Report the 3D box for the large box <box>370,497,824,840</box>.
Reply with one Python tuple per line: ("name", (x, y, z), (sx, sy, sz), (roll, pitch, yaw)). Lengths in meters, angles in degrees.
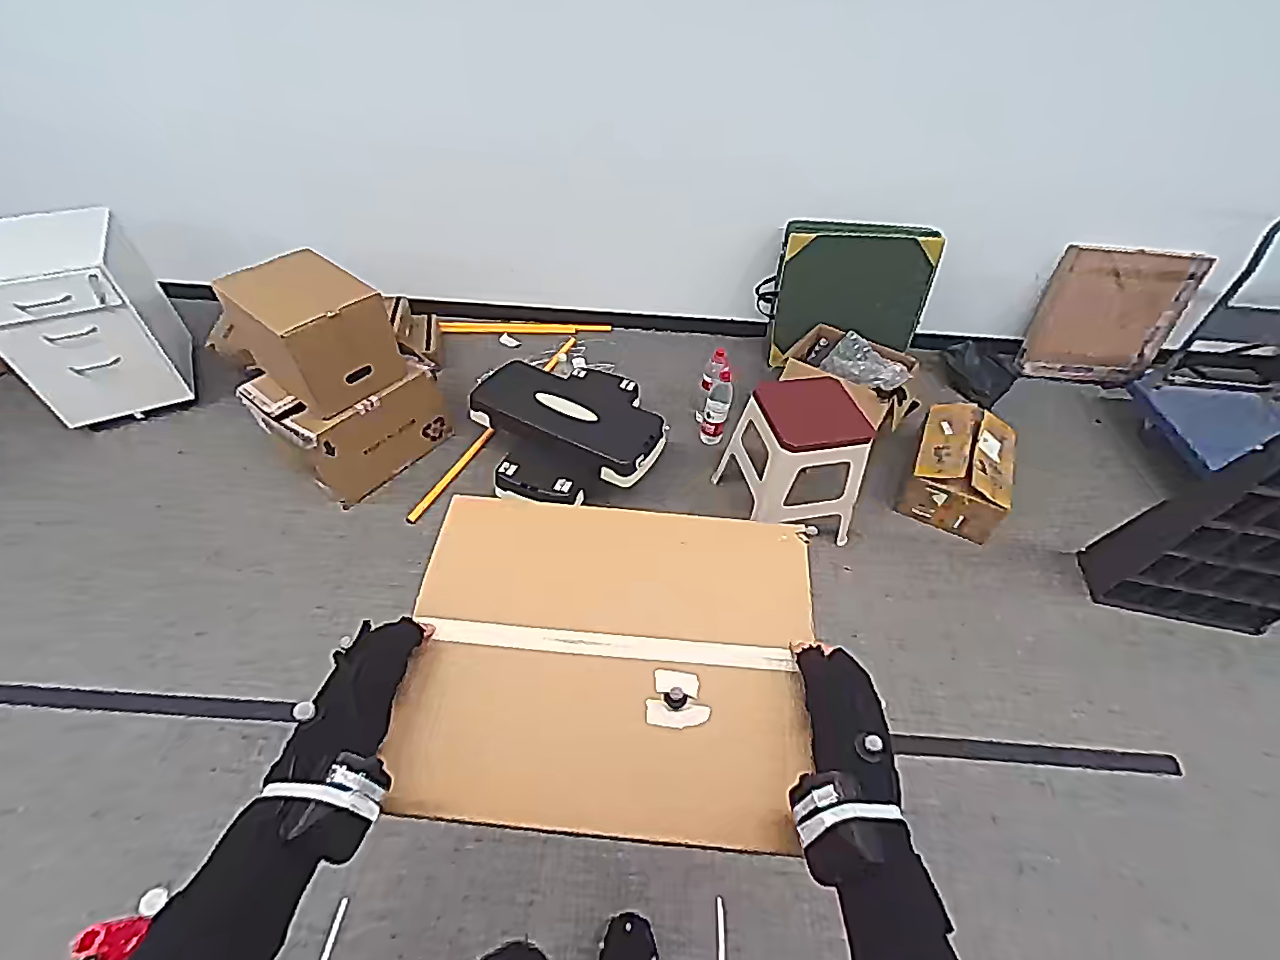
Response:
("large box", (-0.034, 0.244, 0.669), (0.408, 0.320, 0.320), (5, 57, 1))
